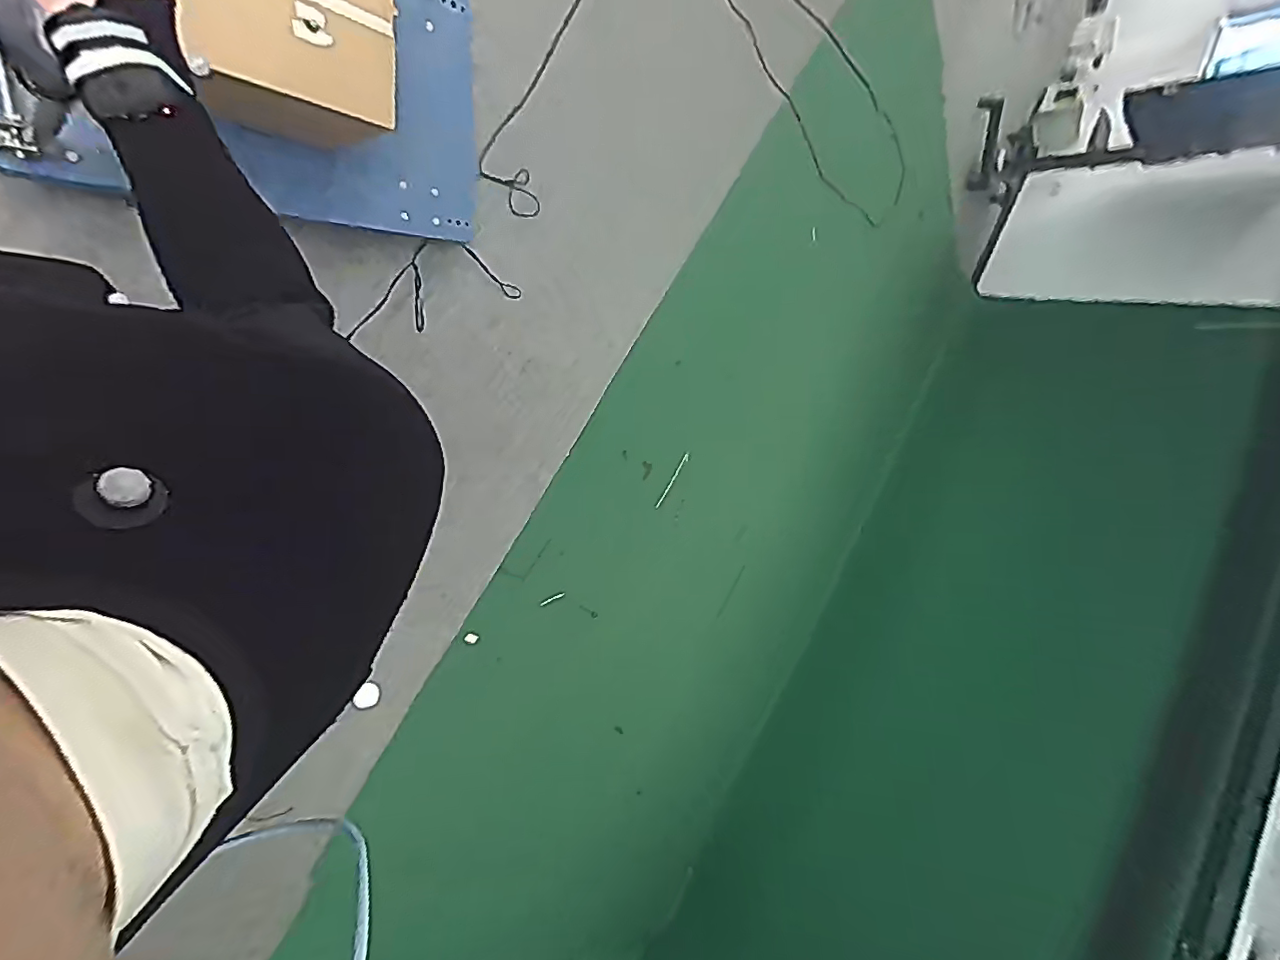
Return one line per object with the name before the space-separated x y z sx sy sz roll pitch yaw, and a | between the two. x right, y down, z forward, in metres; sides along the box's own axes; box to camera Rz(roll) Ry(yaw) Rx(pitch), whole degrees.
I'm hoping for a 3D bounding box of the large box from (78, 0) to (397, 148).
large box | -0.684 -0.819 0.927 0.408 0.320 0.320 -10 112 -46
